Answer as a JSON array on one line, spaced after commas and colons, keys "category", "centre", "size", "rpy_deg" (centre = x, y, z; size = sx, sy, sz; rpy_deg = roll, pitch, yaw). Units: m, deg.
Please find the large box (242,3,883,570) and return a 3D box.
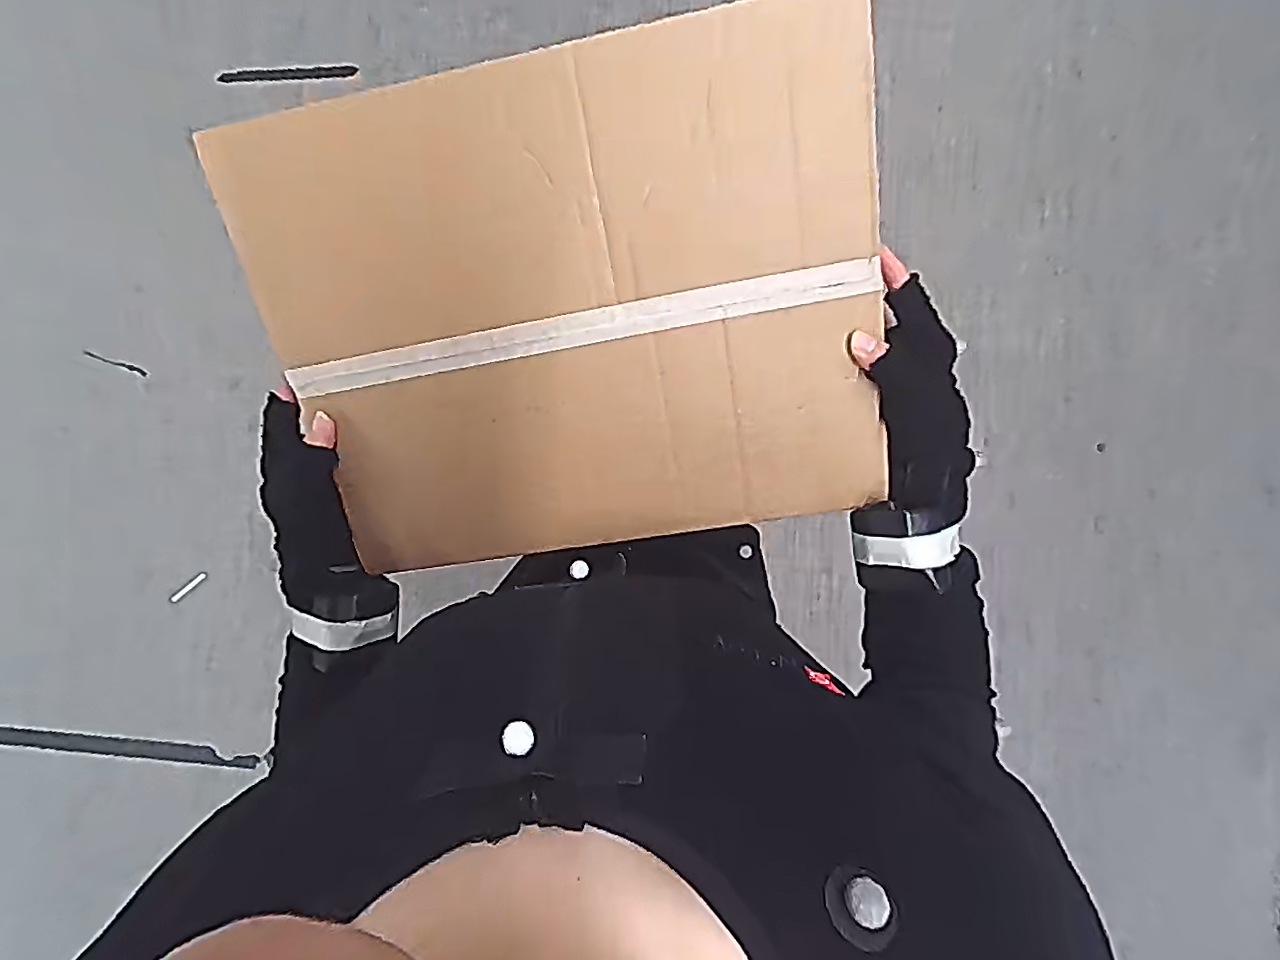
[{"category": "large box", "centre": [-0.035, -0.147, 0.517], "size": [0.408, 0.320, 0.320], "rpy_deg": [-9, 110, 6]}]
